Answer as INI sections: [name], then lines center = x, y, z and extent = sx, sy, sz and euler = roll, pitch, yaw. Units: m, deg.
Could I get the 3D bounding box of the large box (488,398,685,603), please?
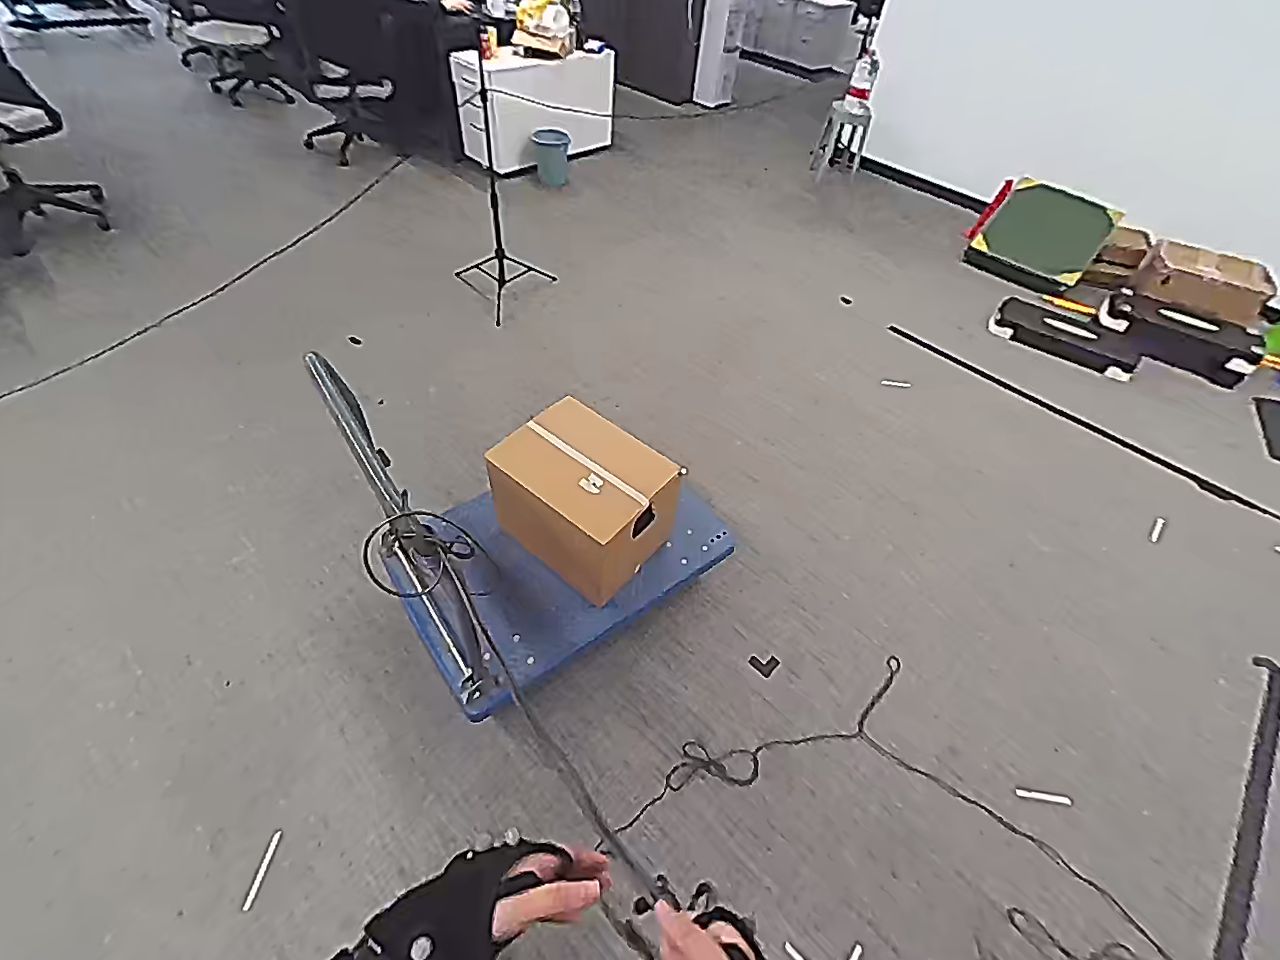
[large box]
center = -0.147, 0.051, 1.465
extent = 0.408, 0.320, 0.320
euler = 34, 56, 20
